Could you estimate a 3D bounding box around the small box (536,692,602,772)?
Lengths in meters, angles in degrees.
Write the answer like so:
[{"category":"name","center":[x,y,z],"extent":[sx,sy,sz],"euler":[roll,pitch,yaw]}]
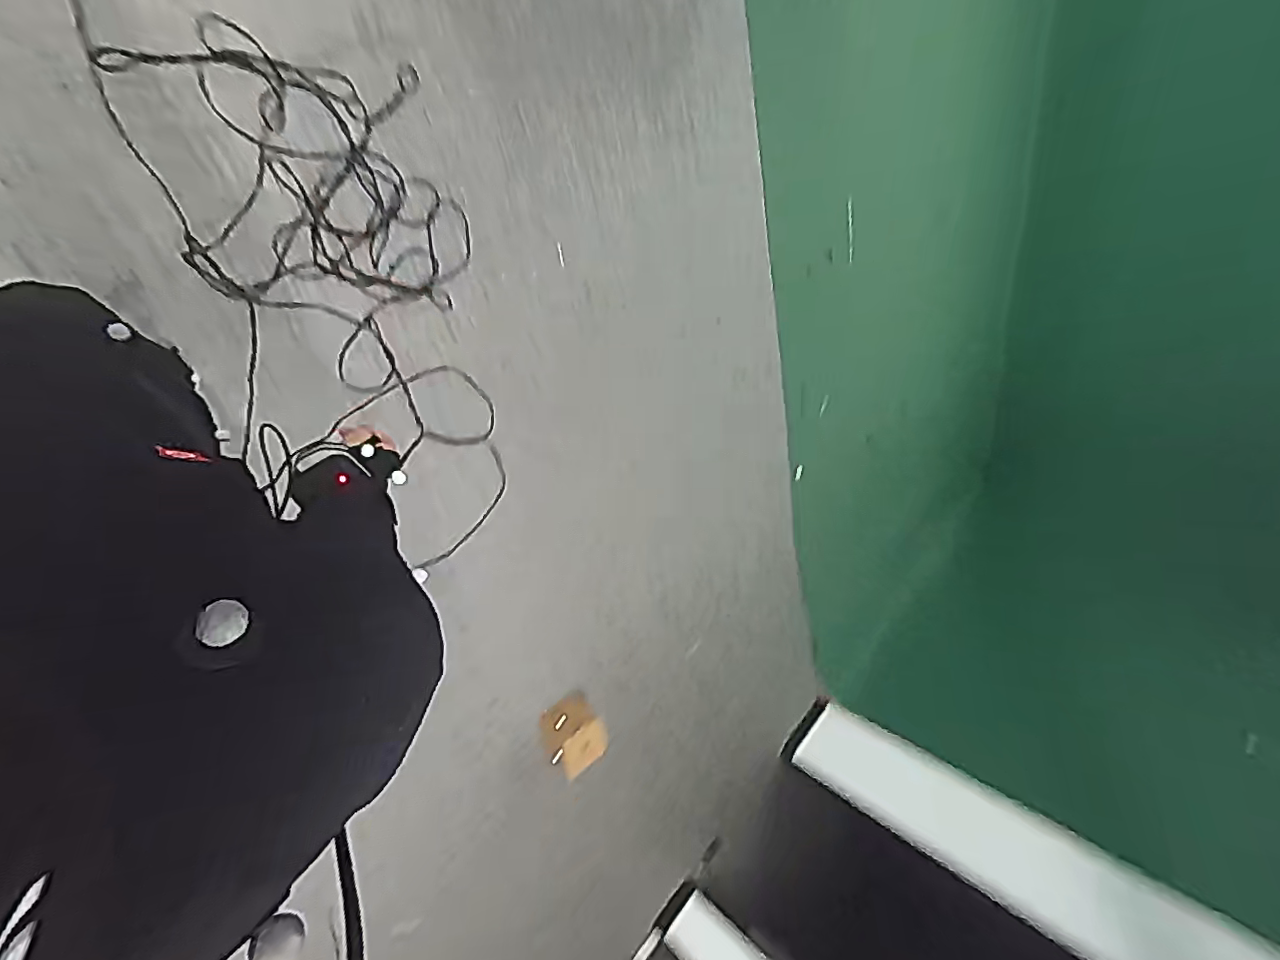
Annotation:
[{"category":"small box","center":[-0.260,0.901,1.958],"extent":[0.168,0.176,0.179],"euler":[-25,121,-36]}]
